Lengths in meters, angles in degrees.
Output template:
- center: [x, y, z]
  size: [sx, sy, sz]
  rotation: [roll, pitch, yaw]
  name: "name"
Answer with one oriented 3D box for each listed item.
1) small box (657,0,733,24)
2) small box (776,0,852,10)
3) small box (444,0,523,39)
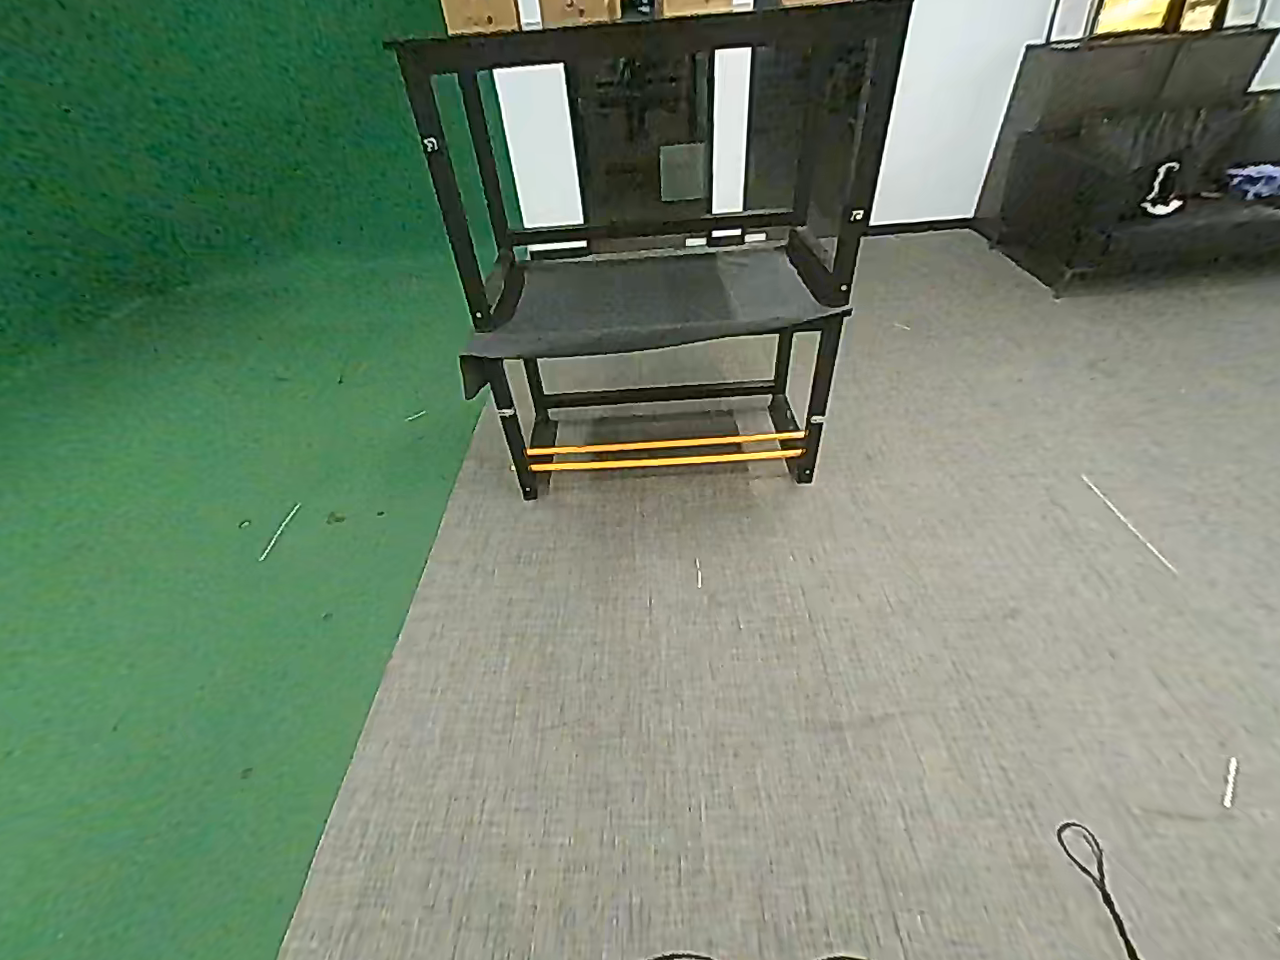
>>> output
- center: [0.129, -1.213, 1.295]
  size: [0.168, 0.176, 0.179]
  rotation: [-7, 41, -2]
  name: "small box"
- center: [0.421, -1.238, 1.288]
  size: [0.168, 0.176, 0.179]
  rotation: [-1, 42, 6]
  name: "small box"
- center: [-0.385, -1.189, 1.317]
  size: [0.168, 0.176, 0.179]
  rotation: [-6, 41, -2]
  name: "small box"
